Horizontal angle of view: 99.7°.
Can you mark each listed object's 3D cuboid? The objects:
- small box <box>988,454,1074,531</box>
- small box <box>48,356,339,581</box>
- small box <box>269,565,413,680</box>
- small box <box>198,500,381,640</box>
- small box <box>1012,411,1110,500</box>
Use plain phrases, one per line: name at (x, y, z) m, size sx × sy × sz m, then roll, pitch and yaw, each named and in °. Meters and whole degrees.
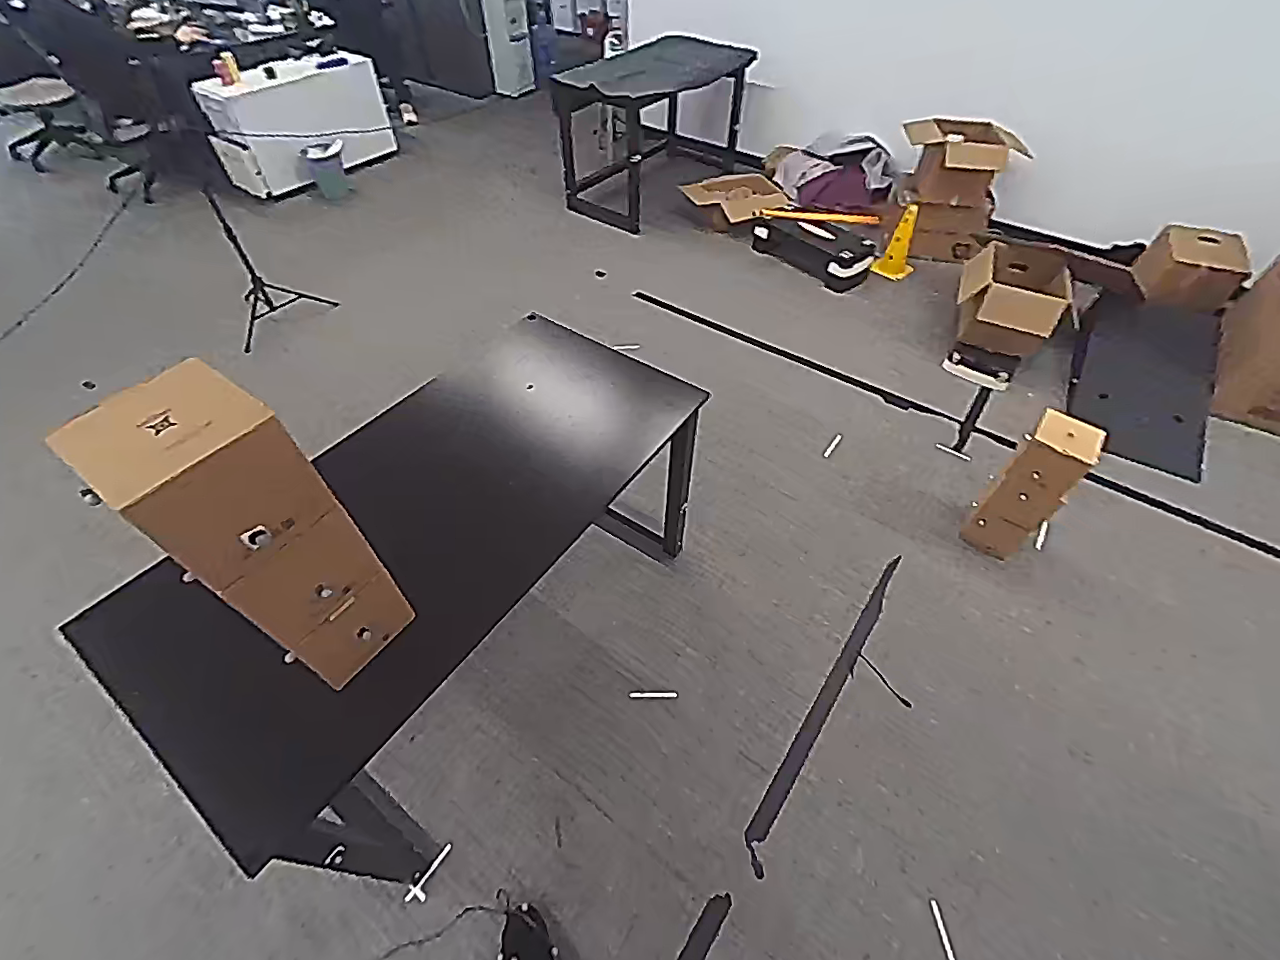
small box at (1.289, 0.039, 1.781) m, size 0.179 × 0.176 × 0.168 m, roll 31°, pitch 56°, yaw 21°
small box at (-0.505, -0.010, 0.637) m, size 0.179 × 0.176 × 0.168 m, roll 28°, pitch 56°, yaw 21°
small box at (-0.508, 0.201, 0.887) m, size 0.179 × 0.176 × 0.168 m, roll 28°, pitch 55°, yaw 20°
small box at (-0.508, 0.095, 0.762) m, size 0.179 × 0.176 × 0.168 m, roll 29°, pitch 56°, yaw 21°
small box at (1.287, -0.074, 1.663) m, size 0.168 × 0.176 × 0.179 m, roll 32°, pitch 57°, yaw 22°
